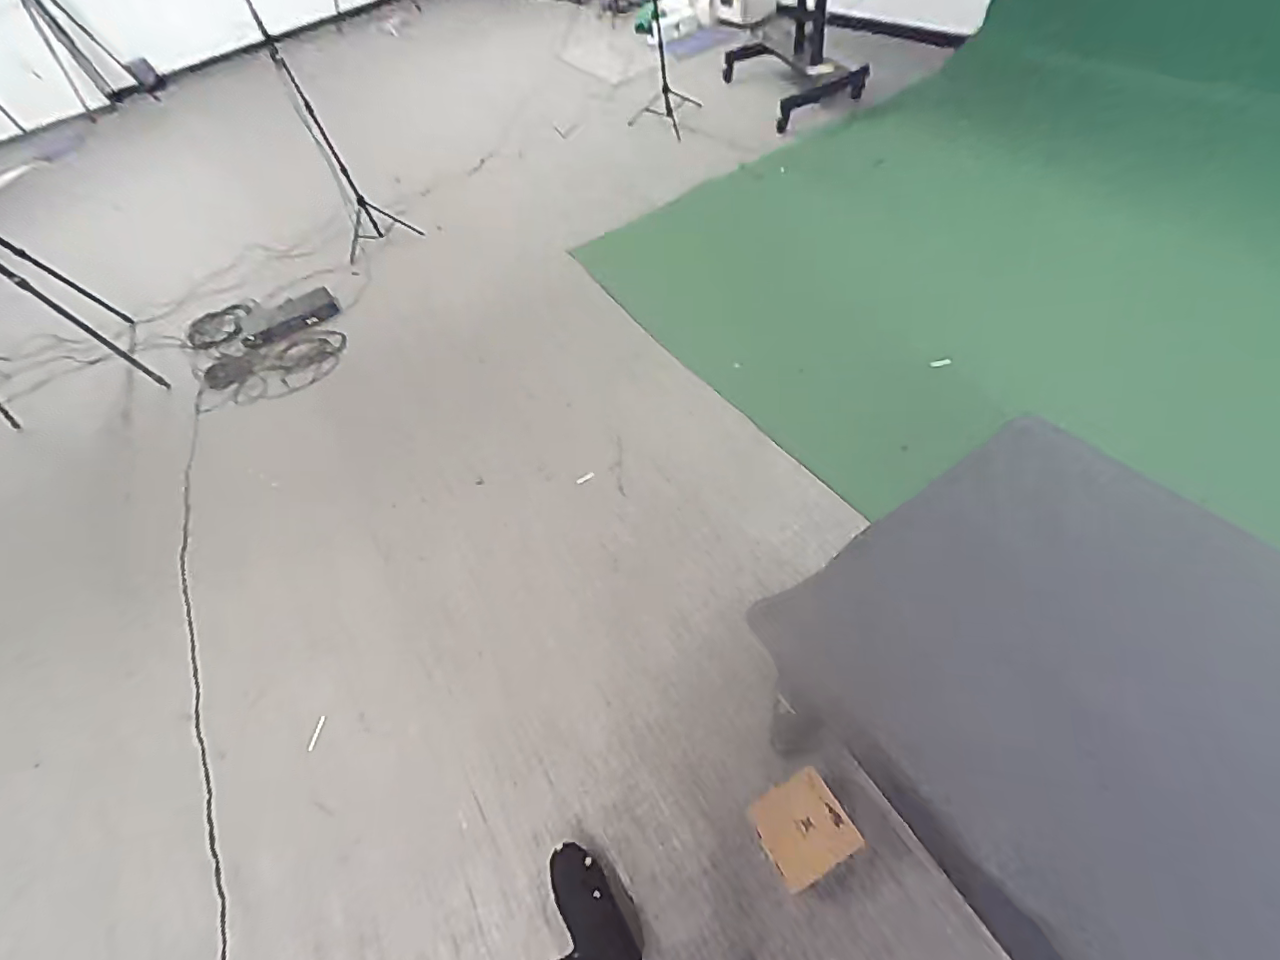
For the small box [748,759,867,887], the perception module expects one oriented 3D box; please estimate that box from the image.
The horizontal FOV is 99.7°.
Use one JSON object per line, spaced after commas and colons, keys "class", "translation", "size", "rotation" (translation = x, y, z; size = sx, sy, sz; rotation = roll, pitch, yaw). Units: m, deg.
{"class": "small box", "translation": [0.352, 0.738, 1.158], "size": [0.179, 0.176, 0.168], "rotation": [-29, 54, -10]}
